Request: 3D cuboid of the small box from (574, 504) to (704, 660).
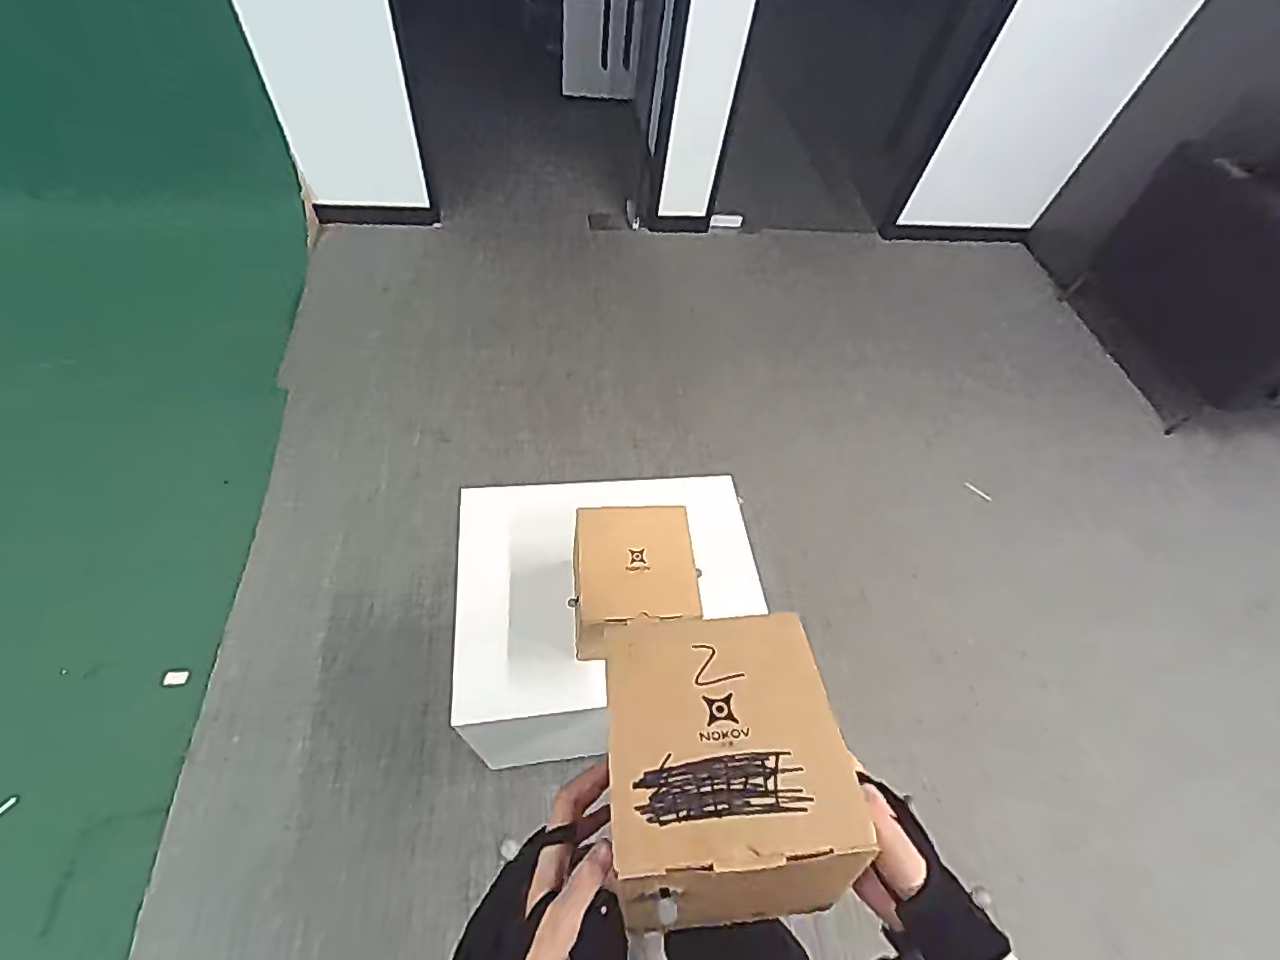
[{"bbox_3d":[-0.013,0.154,0.811,0.168,0.176,0.179,-1,55,-9],"label":"small box"}]
